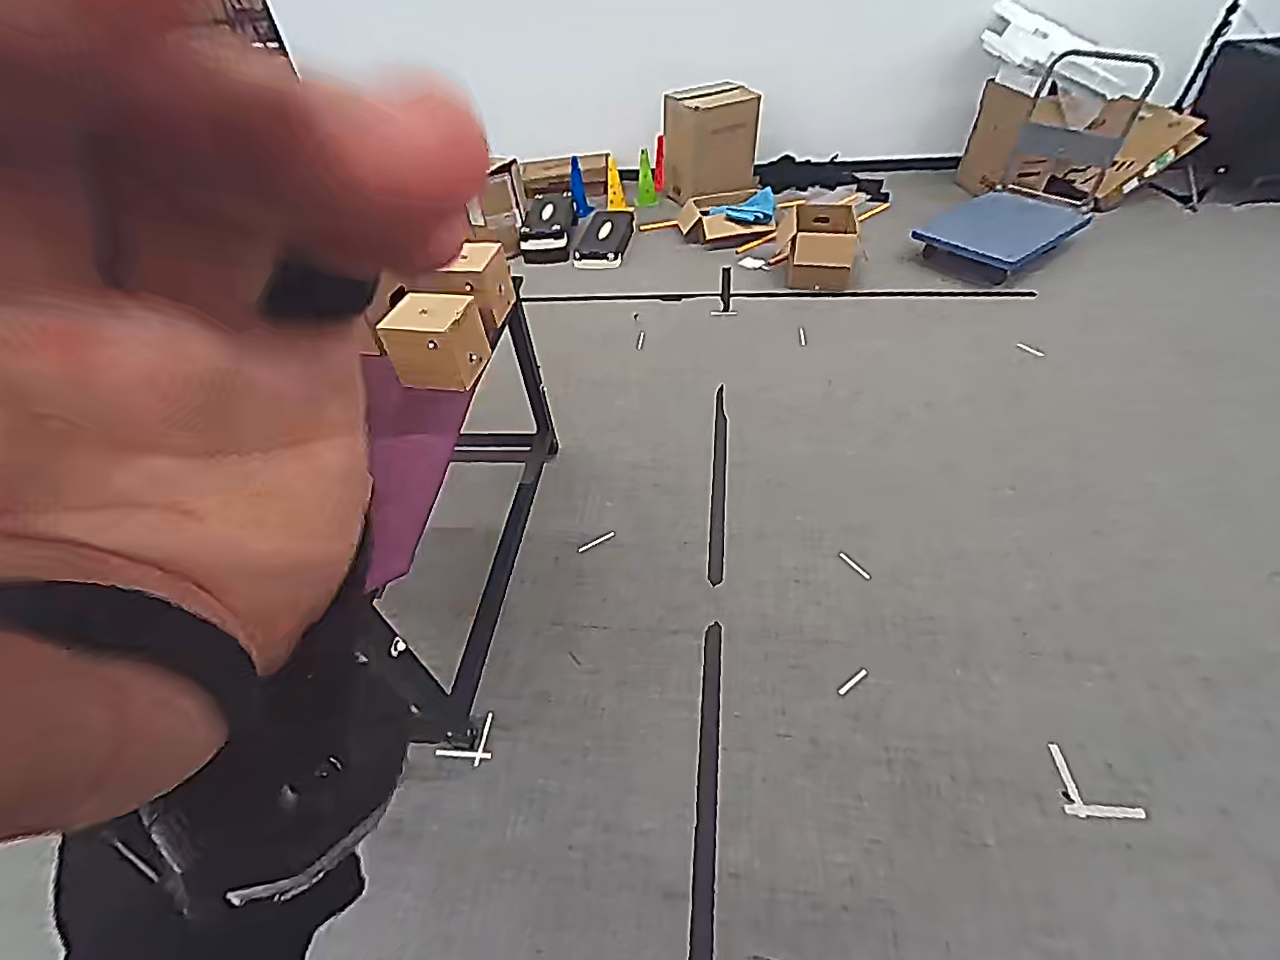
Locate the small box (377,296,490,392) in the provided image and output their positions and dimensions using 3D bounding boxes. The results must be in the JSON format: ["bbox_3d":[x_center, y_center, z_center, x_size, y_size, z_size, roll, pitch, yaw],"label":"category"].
[{"bbox_3d":[-0.493,-0.331,1.319,0.179,0.176,0.168,6,47,10],"label":"small box"}]

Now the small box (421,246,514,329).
[{"bbox_3d":[-0.469,-0.533,1.505,0.179,0.176,0.168,2,47,10],"label":"small box"}]
